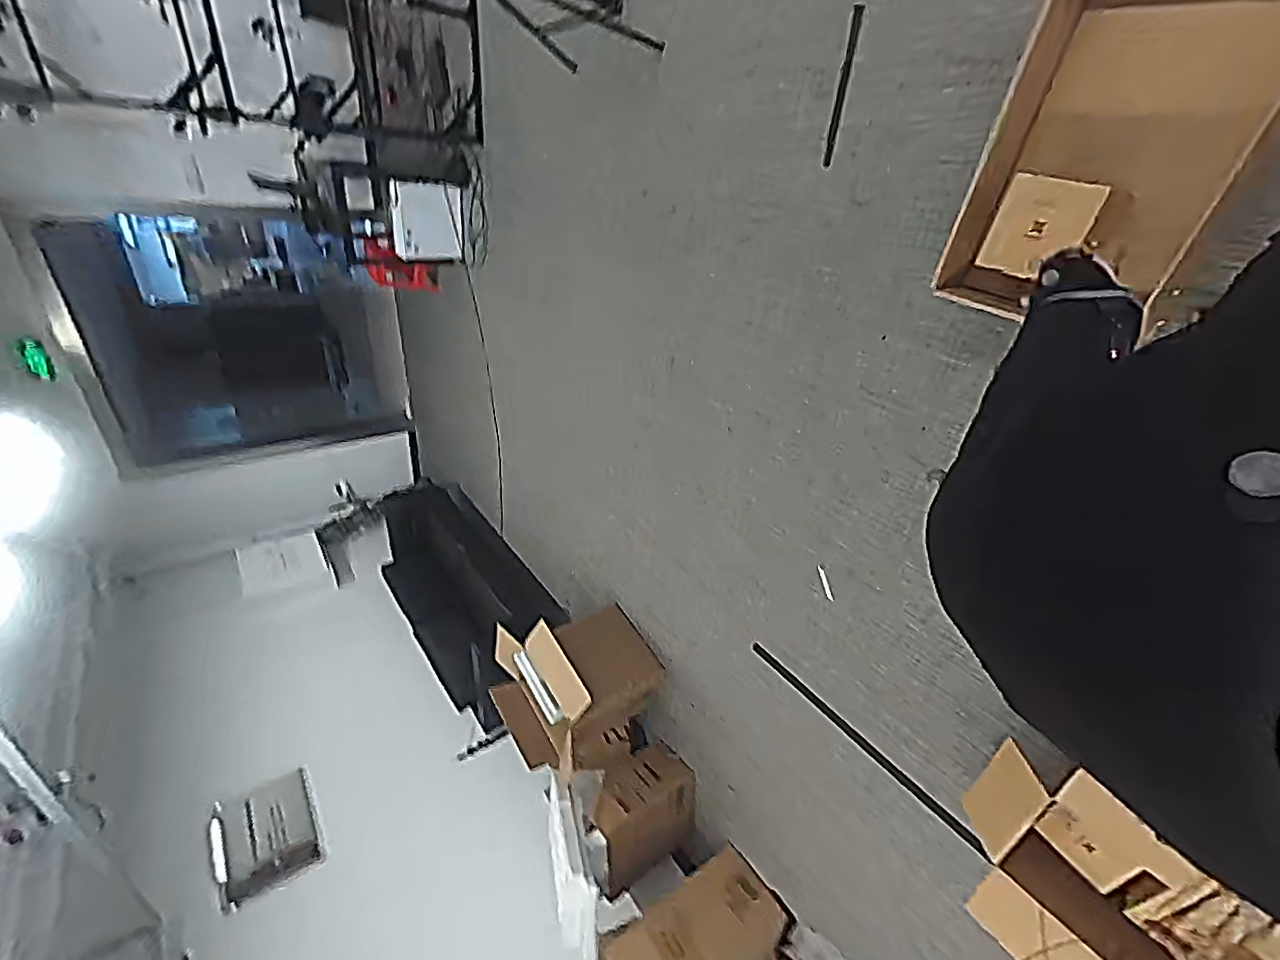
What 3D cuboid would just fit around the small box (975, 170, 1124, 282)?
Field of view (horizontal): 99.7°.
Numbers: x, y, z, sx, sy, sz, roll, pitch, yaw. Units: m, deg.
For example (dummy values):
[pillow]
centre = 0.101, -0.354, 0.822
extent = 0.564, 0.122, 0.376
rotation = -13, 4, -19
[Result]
[small box]
centre = 0.835, -0.516, 1.102
extent = 0.168, 0.176, 0.179
rotation = 38, 132, 37
